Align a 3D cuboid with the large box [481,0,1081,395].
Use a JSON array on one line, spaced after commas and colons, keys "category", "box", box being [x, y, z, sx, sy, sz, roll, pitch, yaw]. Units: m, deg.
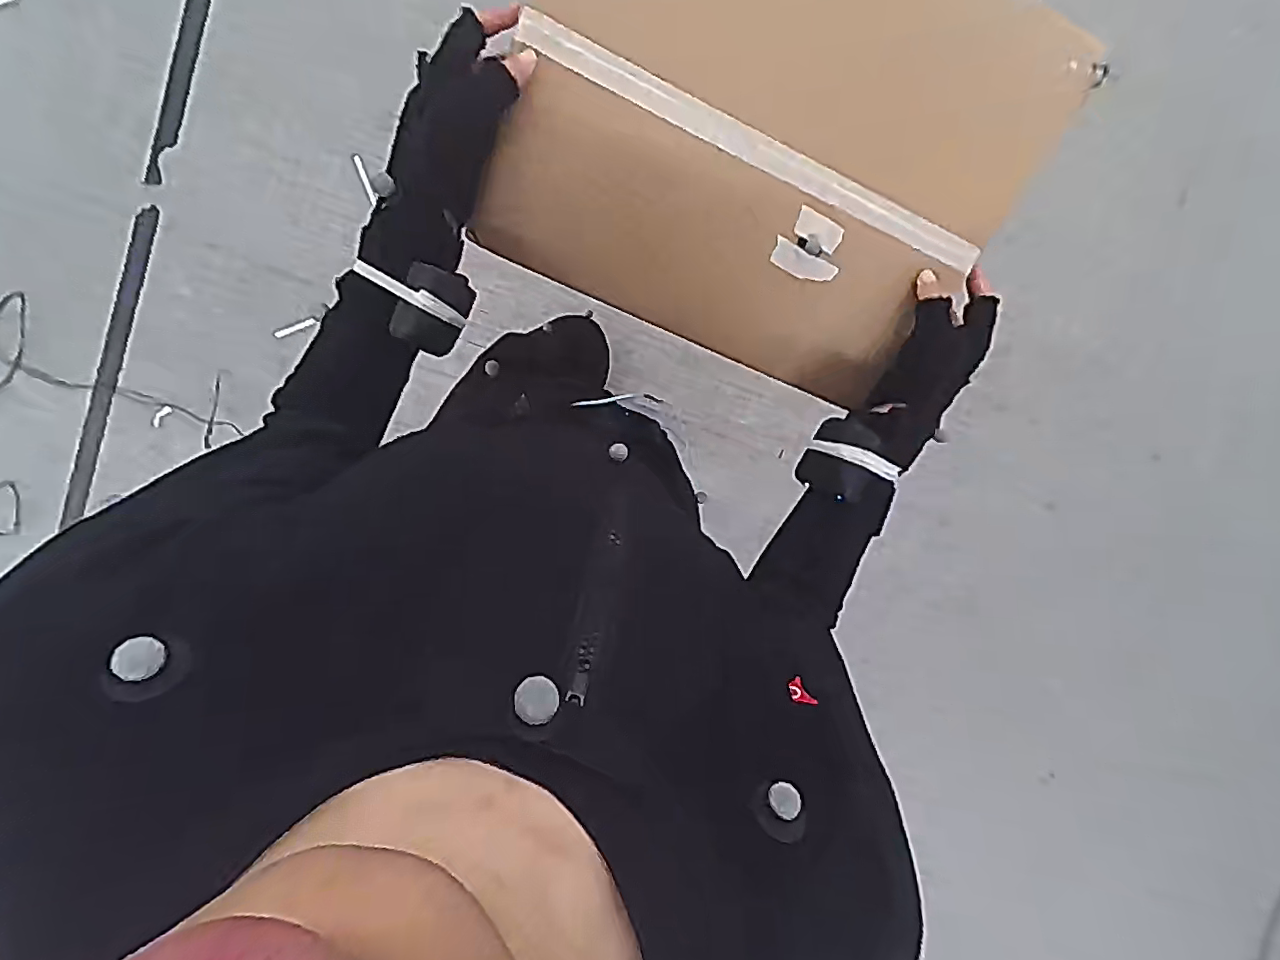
[{"category": "large box", "box": [0.095, -0.343, 0.570, 0.408, 0.320, 0.320, 20, 118, -12]}]
